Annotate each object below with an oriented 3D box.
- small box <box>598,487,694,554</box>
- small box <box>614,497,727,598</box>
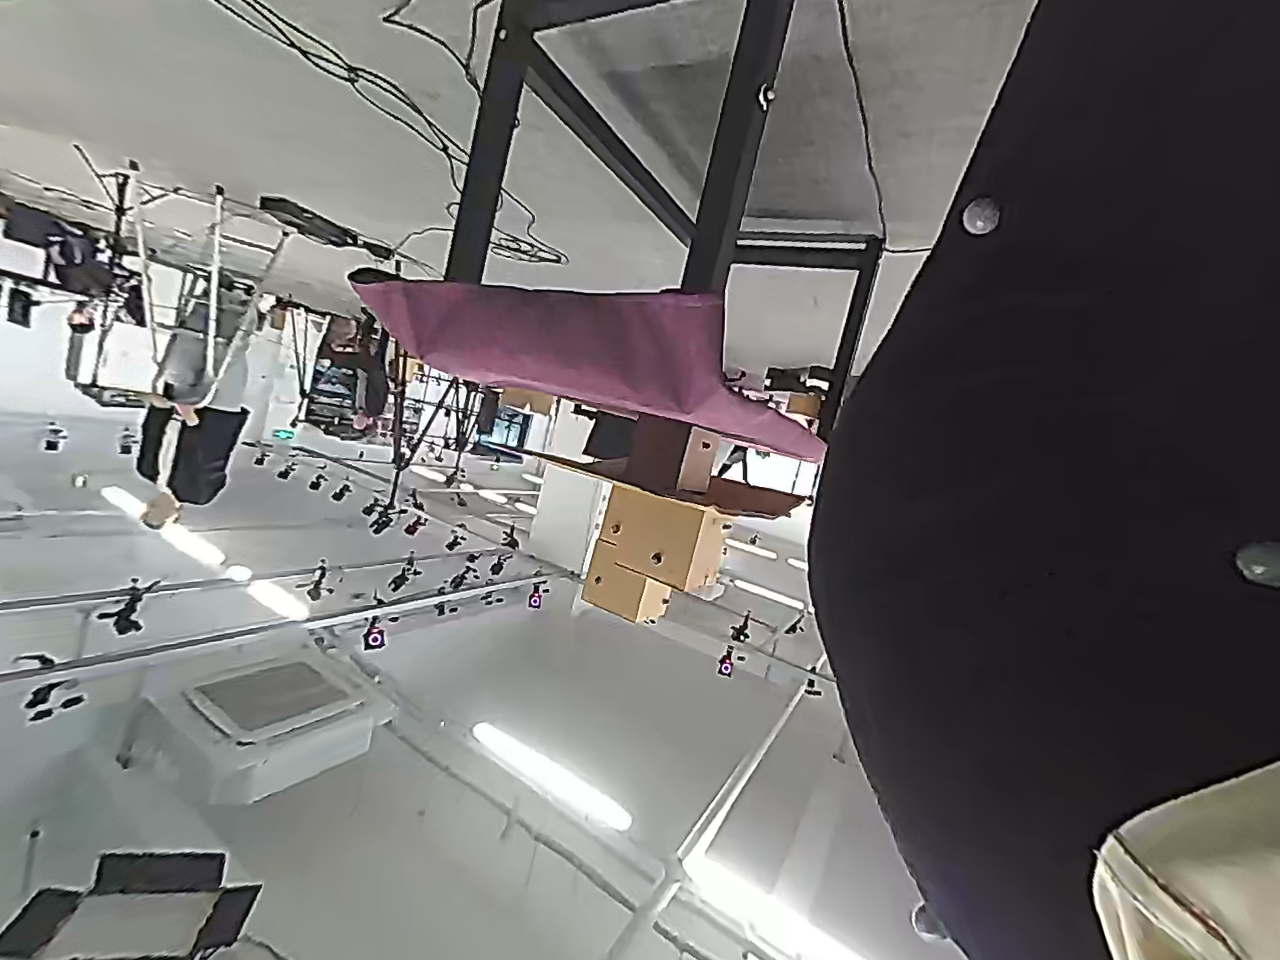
[{"bbox_3d":[0.020,0.116,1.424,0.179,0.176,0.168,15,-179,29],"label":"small box"},{"bbox_3d":[0.073,0.137,1.157,0.179,0.176,0.168,16,-178,30],"label":"small box"}]
